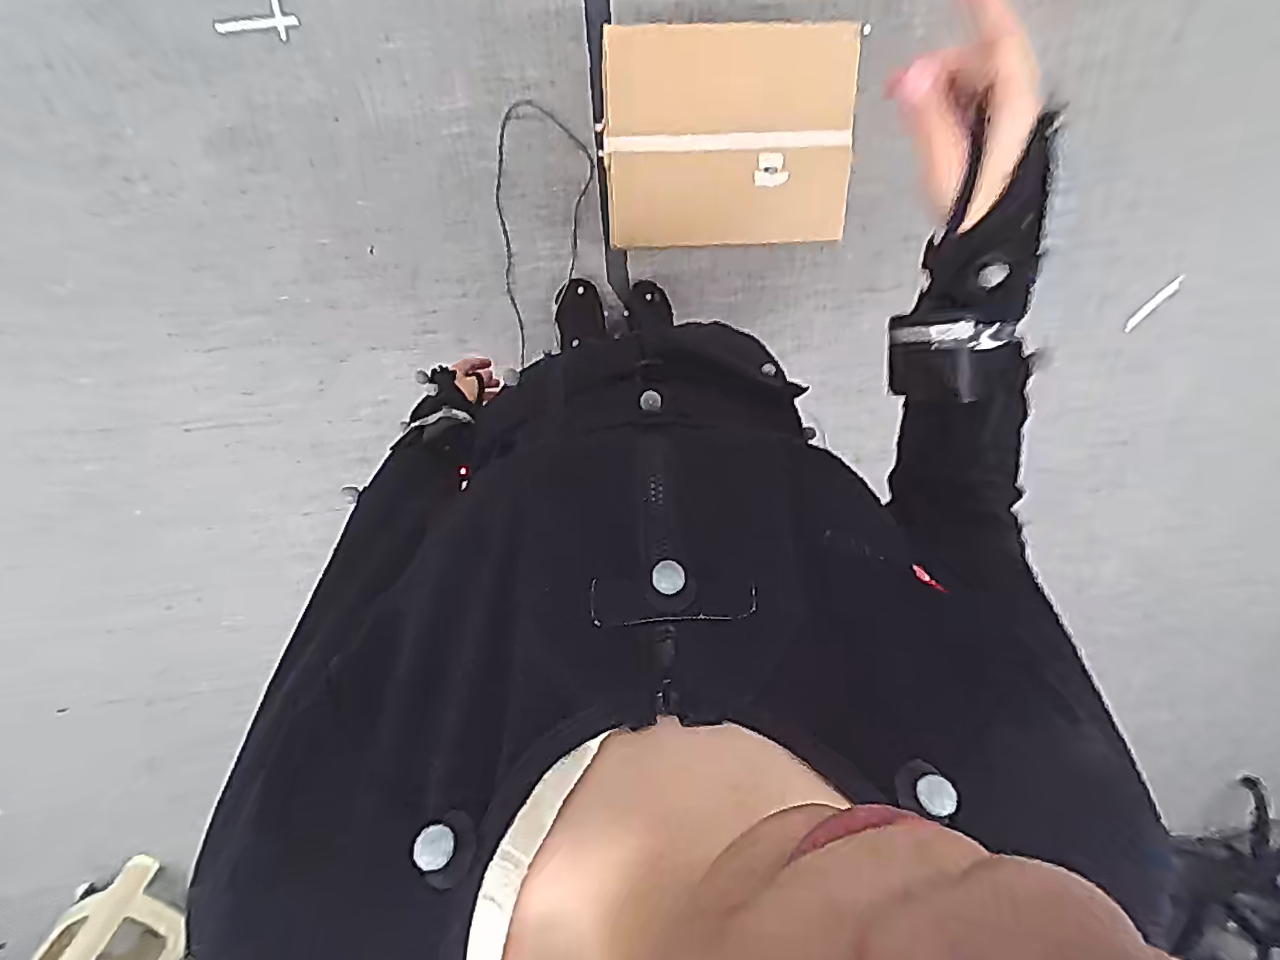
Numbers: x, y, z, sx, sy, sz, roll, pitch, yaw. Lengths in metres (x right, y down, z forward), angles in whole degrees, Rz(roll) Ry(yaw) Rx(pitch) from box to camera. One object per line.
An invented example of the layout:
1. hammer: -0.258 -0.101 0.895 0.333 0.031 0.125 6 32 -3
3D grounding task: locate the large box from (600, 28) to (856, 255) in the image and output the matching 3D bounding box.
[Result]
1. large box: 0.135 -0.607 1.030 0.408 0.320 0.320 -3 112 -4
